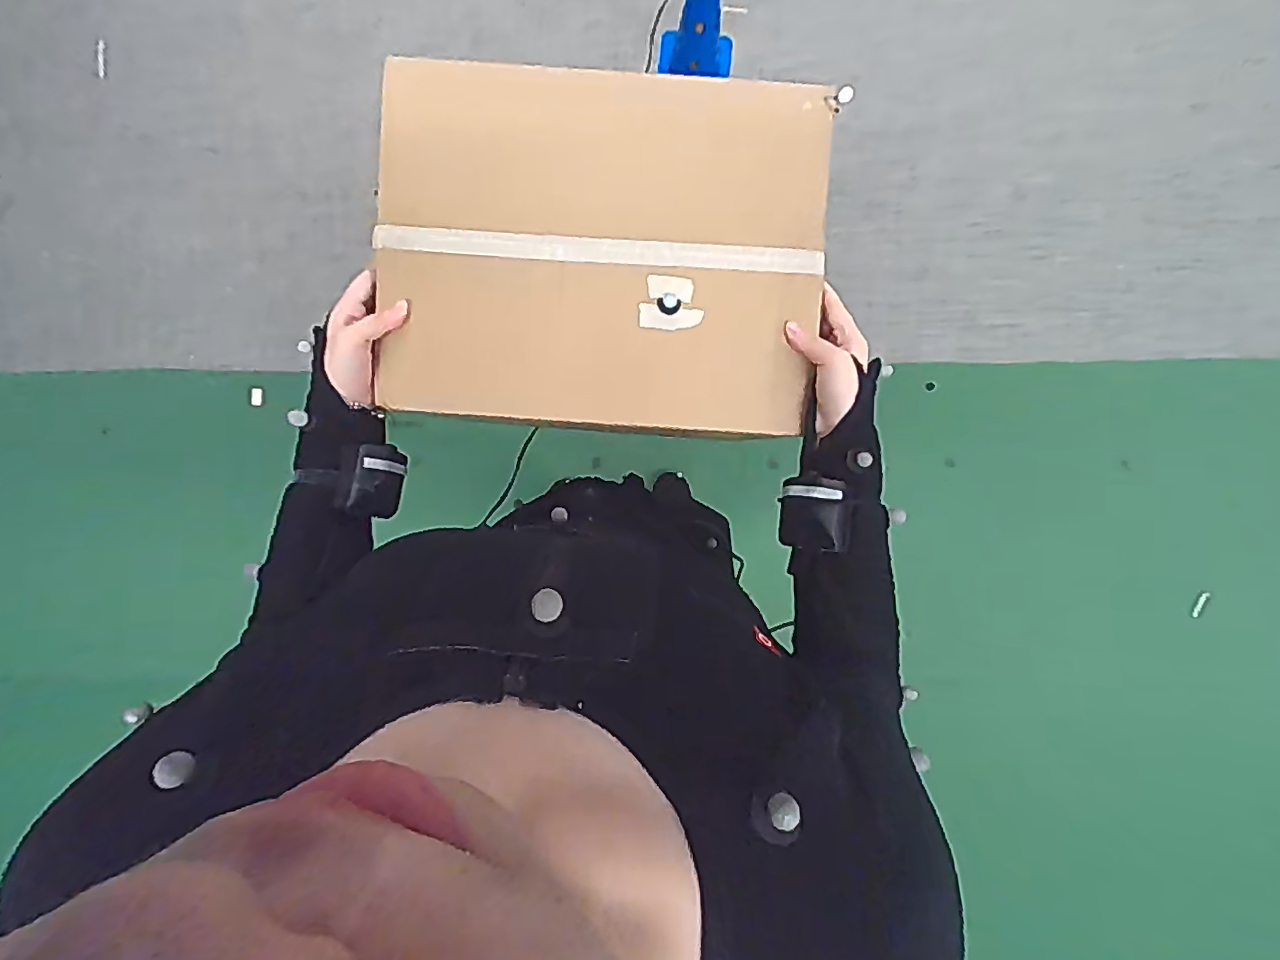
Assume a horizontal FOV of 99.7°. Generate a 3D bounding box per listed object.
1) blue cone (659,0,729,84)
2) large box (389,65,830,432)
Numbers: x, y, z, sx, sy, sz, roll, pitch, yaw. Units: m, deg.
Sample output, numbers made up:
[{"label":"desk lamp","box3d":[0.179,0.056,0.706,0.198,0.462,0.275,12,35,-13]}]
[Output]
[{"label":"blue cone","box3d":[0.151,-1.141,1.347,0.193,0.380,0.192,8,91,0]},{"label":"large box","box3d":[-0.034,-0.223,0.648,0.408,0.320,0.320,3,94,-1]}]
